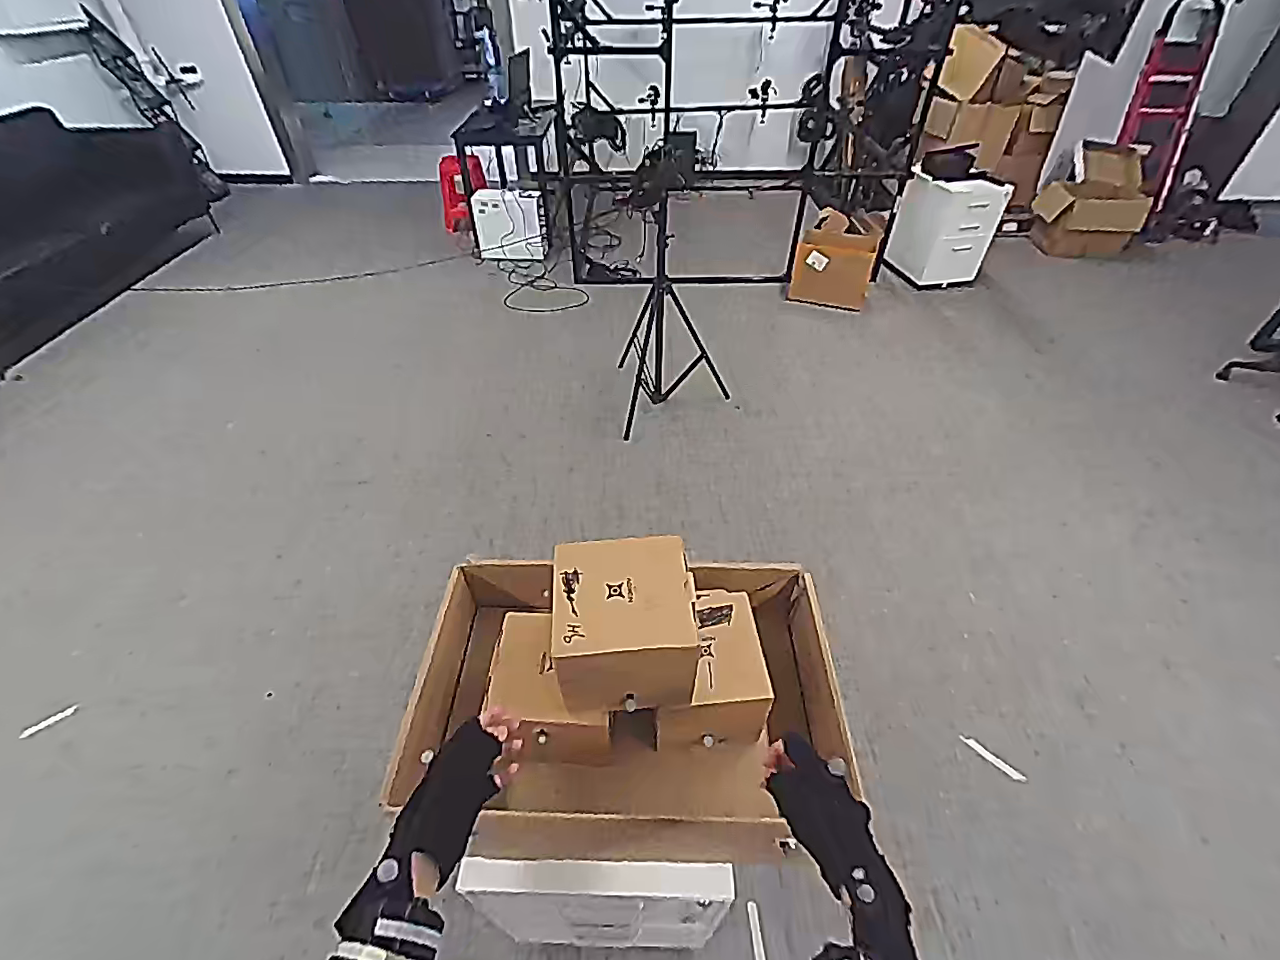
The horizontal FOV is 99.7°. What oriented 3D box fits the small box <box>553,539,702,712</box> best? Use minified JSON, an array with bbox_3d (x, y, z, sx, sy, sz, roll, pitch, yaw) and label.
[{"bbox_3d":[-0.021,0.199,0.736,0.179,0.176,0.168,-3,45,-4],"label":"small box"}]
